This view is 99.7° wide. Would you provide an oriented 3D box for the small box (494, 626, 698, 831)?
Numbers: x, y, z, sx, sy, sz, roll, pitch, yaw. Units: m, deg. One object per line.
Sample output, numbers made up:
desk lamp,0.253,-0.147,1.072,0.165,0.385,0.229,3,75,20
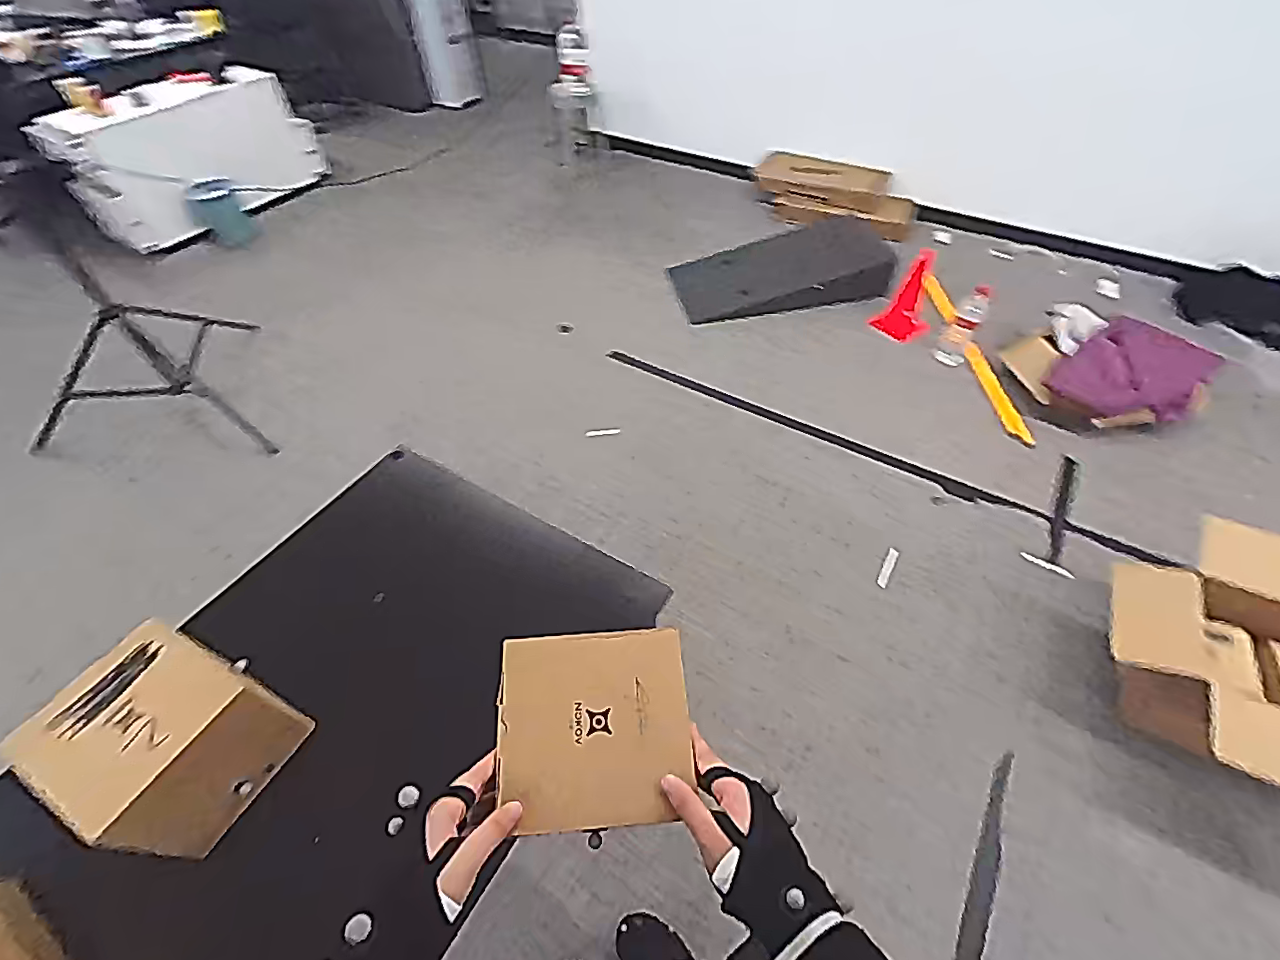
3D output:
small box,-0.044,0.263,0.564,0.179,0.176,0.168,-3,58,-5
